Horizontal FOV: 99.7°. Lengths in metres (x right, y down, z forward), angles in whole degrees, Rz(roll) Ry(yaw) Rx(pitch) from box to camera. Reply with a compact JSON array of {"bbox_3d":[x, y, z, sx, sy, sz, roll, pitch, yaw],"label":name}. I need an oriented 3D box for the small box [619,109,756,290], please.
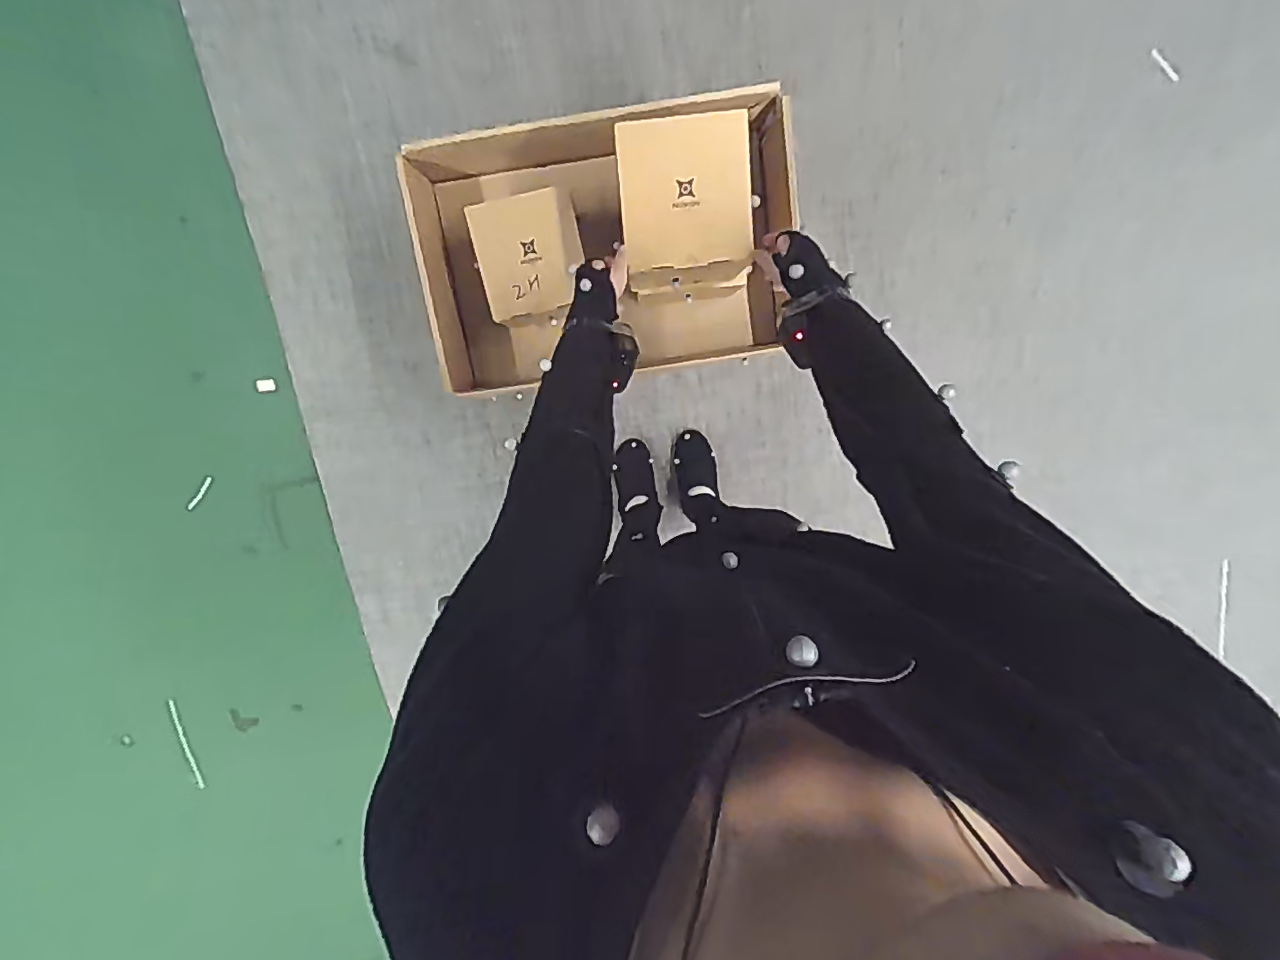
[{"bbox_3d":[0.061,-0.373,0.749,0.168,0.176,0.179,-5,101,2],"label":"small box"}]
